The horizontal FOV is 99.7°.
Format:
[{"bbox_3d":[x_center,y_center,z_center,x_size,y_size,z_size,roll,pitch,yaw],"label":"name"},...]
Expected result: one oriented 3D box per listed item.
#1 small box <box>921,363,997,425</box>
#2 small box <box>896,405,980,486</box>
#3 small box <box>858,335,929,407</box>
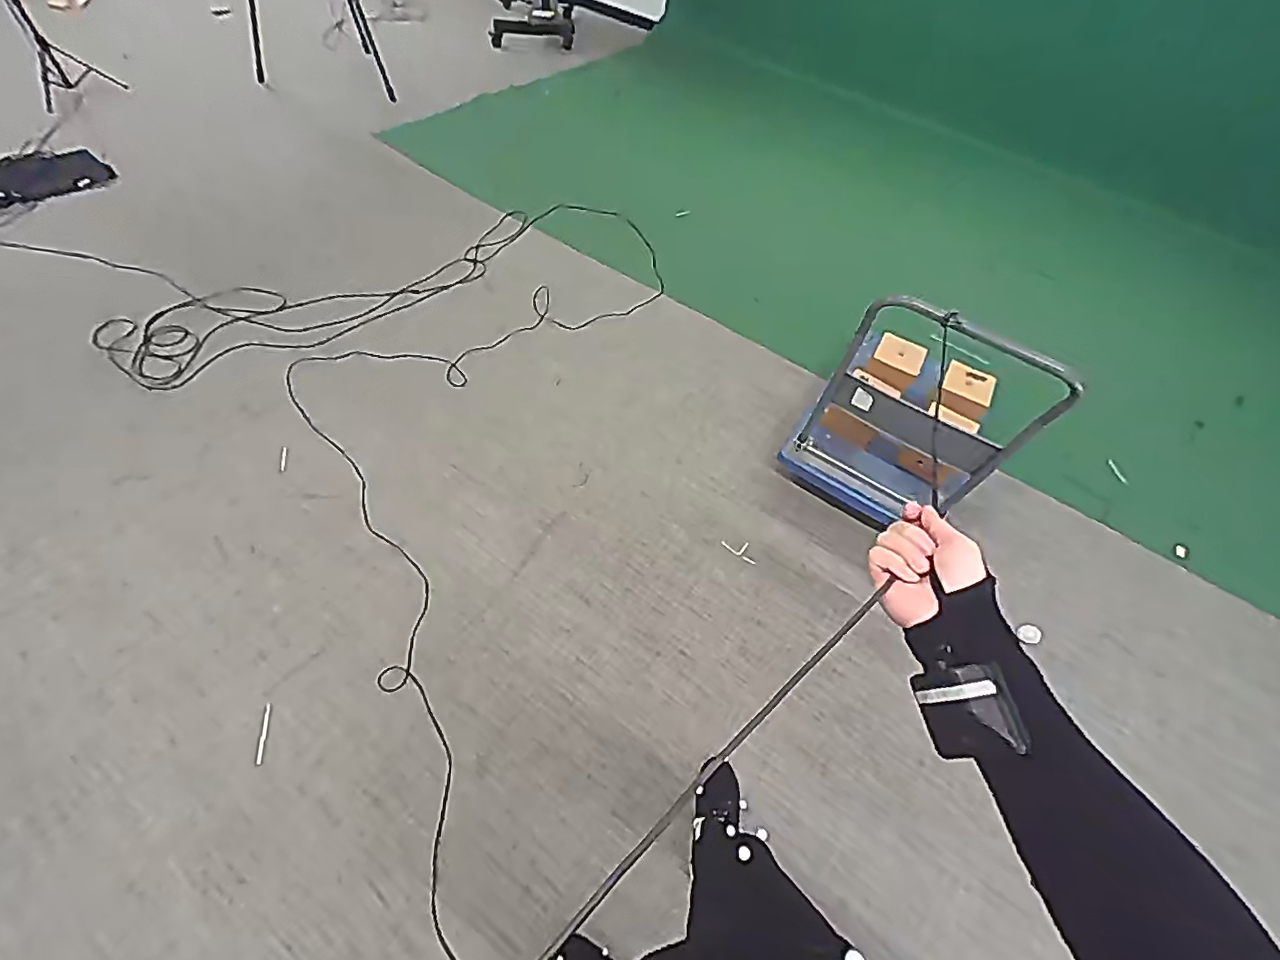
[{"bbox_3d":[1.158,-0.287,1.972,0.168,0.176,0.179,29,58,14],"label":"small box"},{"bbox_3d":[1.004,-0.115,1.832,0.168,0.176,0.179,33,58,16],"label":"small box"},{"bbox_3d":[0.943,-0.405,2.029,0.168,0.176,0.179,30,57,13],"label":"small box"}]
